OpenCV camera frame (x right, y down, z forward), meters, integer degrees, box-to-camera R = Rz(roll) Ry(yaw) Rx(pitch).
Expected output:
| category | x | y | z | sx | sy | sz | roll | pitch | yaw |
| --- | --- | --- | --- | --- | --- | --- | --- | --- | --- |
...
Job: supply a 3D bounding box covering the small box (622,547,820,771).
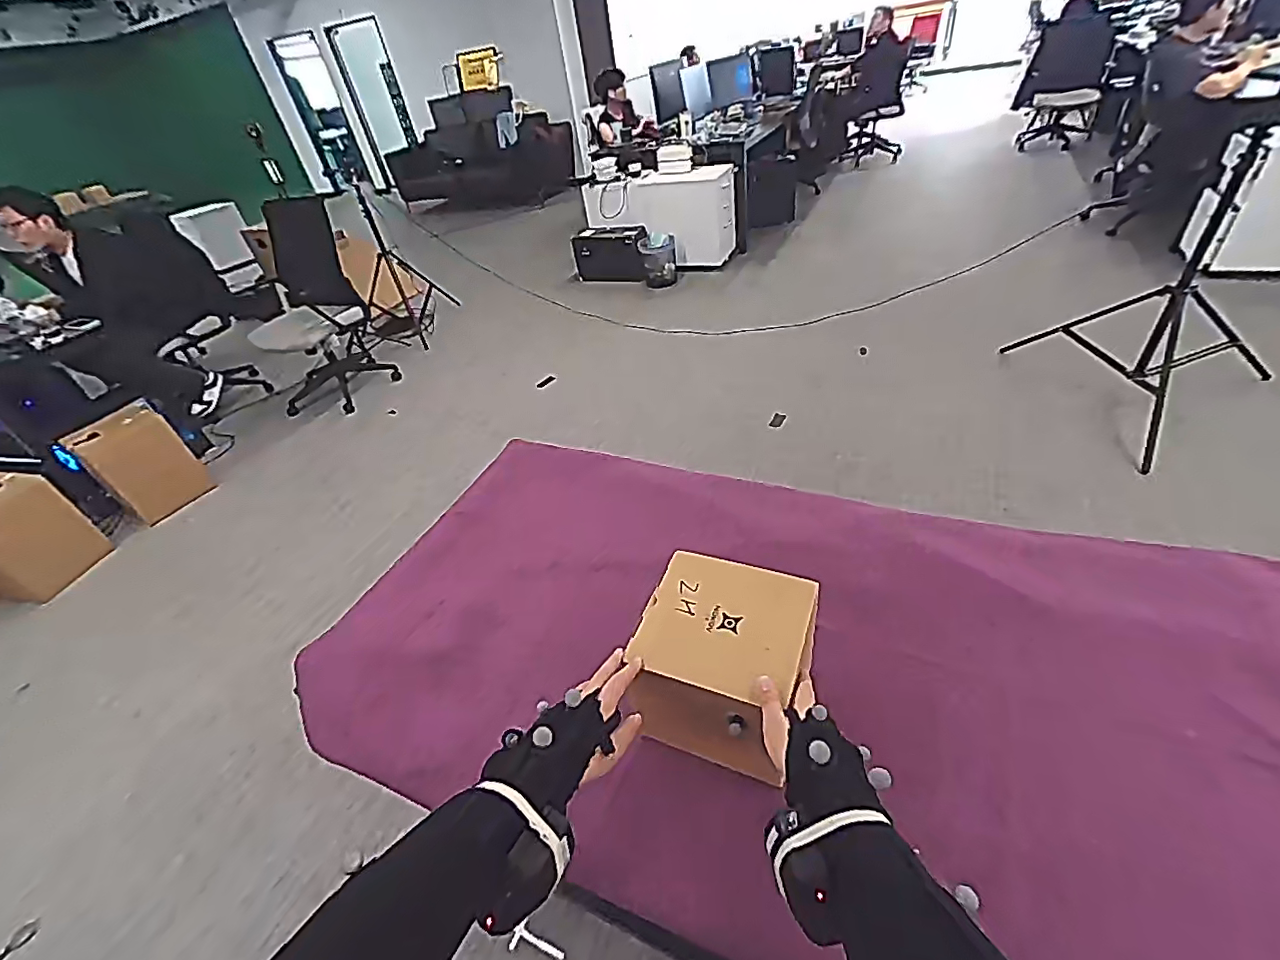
| category | x | y | z | sx | sy | sz | roll | pitch | yaw |
| --- | --- | --- | --- | --- | --- | --- | --- | --- | --- |
| small box | 0.102 | 0.209 | 0.634 | 0.179 | 0.176 | 0.168 | 10 | 42 | 24 |
